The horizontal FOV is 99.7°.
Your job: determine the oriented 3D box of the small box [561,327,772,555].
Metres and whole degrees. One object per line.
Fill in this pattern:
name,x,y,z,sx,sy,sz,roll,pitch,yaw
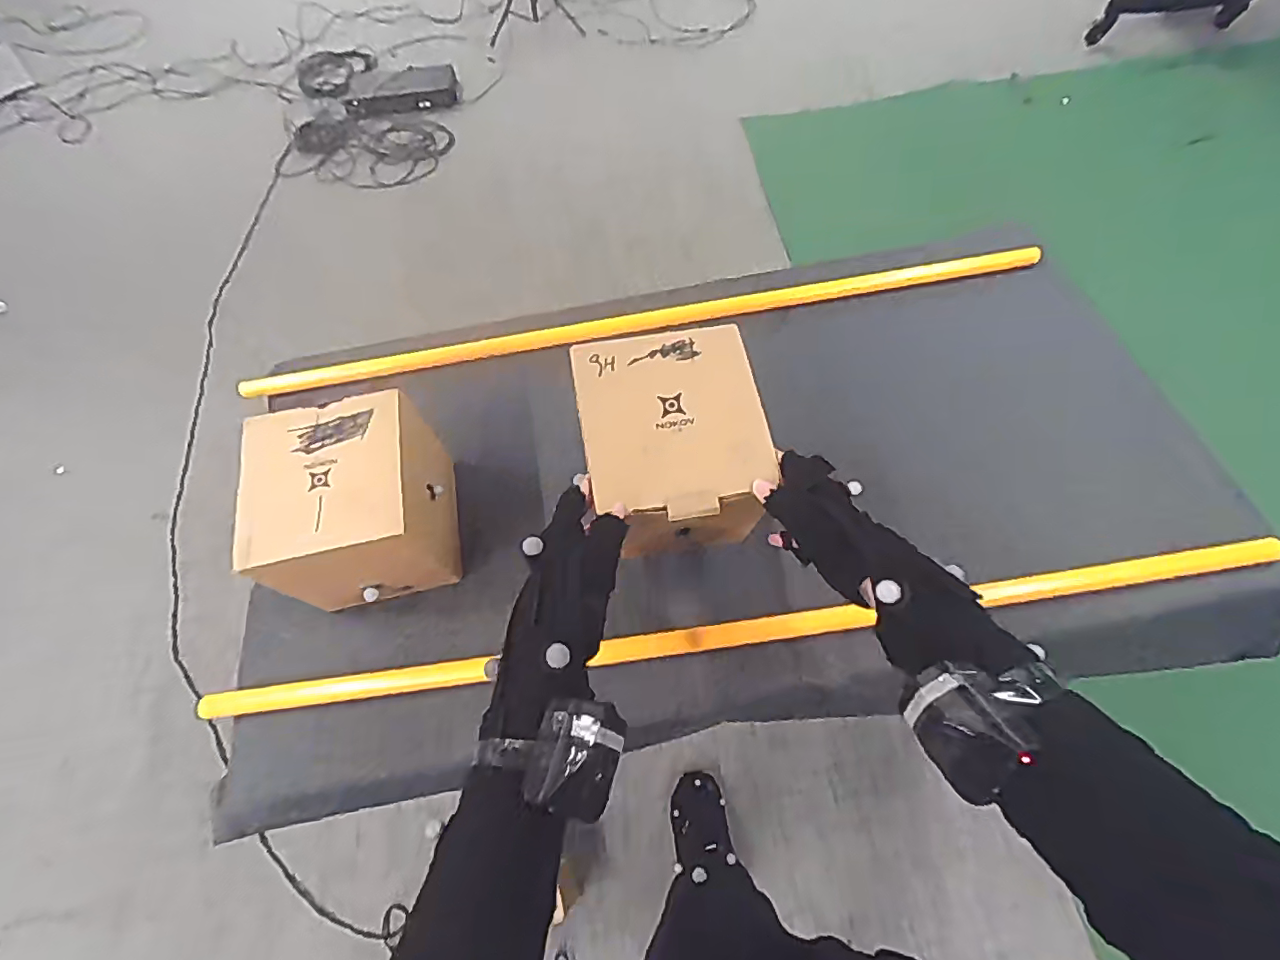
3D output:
small box,0.022,-0.028,0.571,0.168,0.176,0.179,-12,69,-5

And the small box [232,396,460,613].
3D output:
small box,-0.317,0.034,0.621,0.168,0.176,0.179,-12,64,-3
